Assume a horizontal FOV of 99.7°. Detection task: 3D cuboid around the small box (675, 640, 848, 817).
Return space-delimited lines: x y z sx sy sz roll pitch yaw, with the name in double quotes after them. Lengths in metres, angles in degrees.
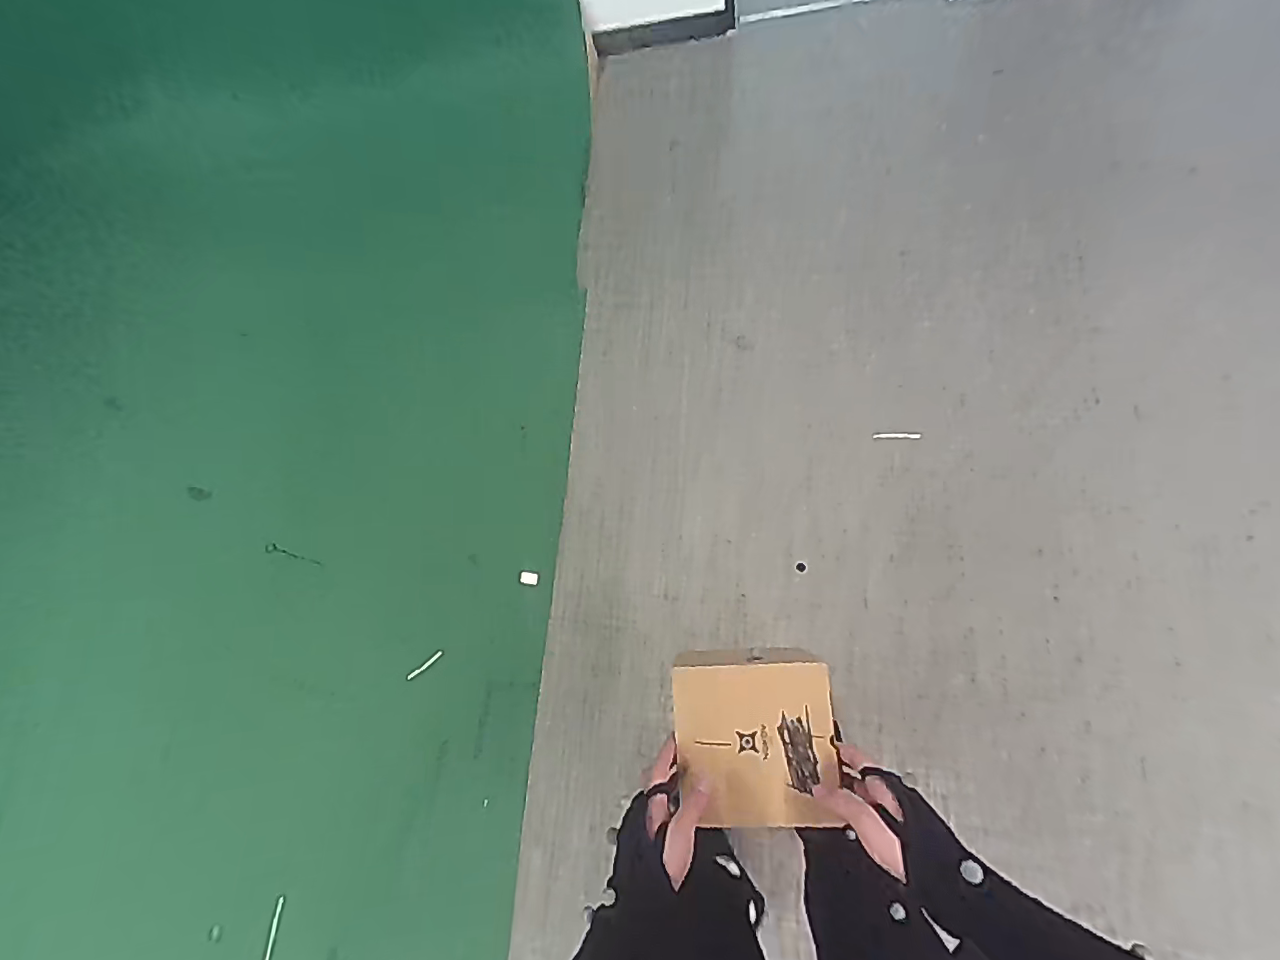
0.135 0.287 0.657 0.179 0.176 0.168 -3 77 6 "small box"
